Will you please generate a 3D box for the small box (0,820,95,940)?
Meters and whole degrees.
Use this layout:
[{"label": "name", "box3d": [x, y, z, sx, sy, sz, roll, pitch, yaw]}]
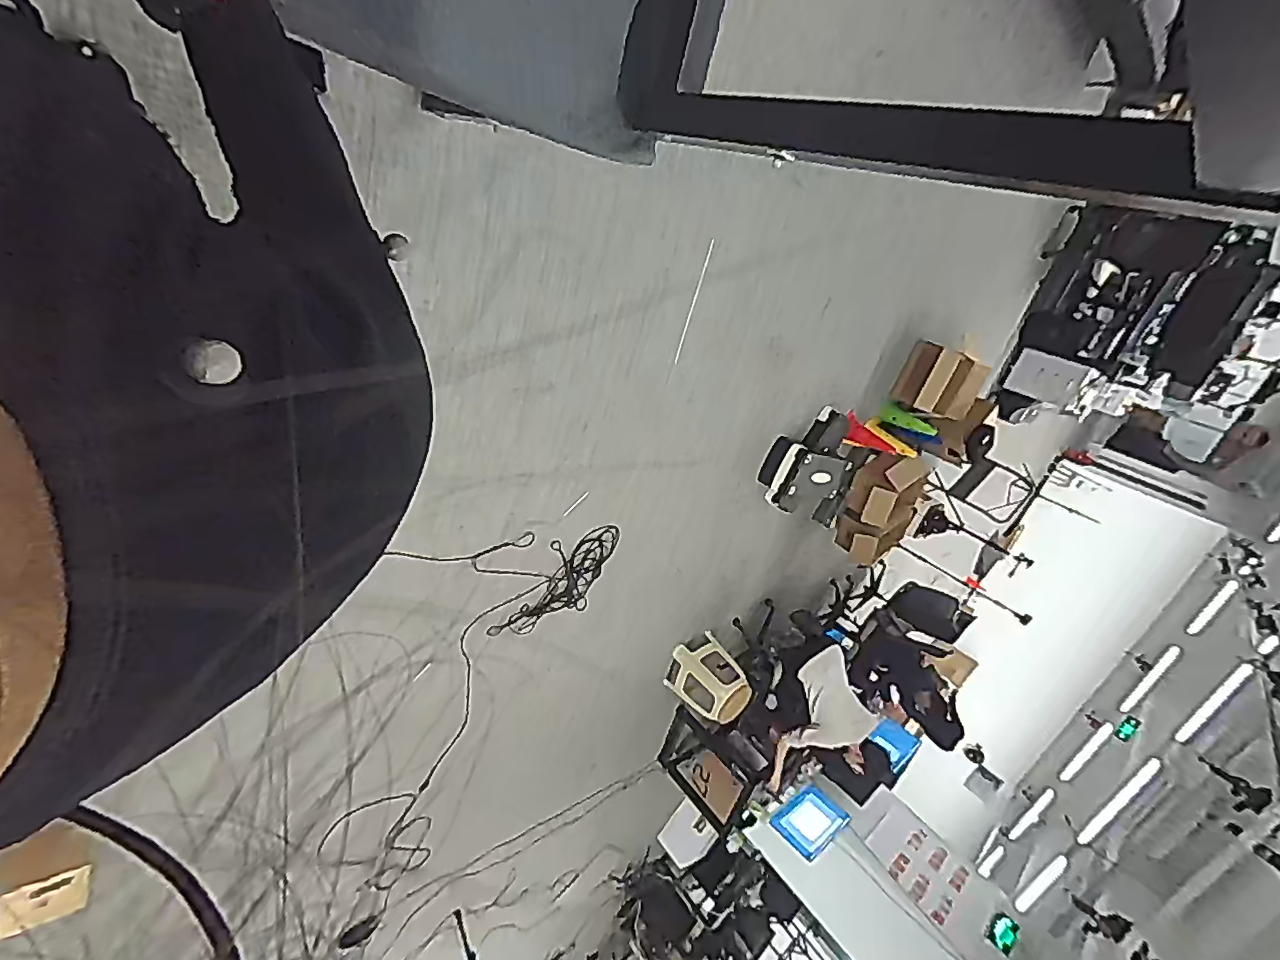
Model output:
[{"label": "small box", "box3d": [-1.572, 1.044, 1.435, 0.168, 0.176, 0.179, 4, 116, -46]}]
